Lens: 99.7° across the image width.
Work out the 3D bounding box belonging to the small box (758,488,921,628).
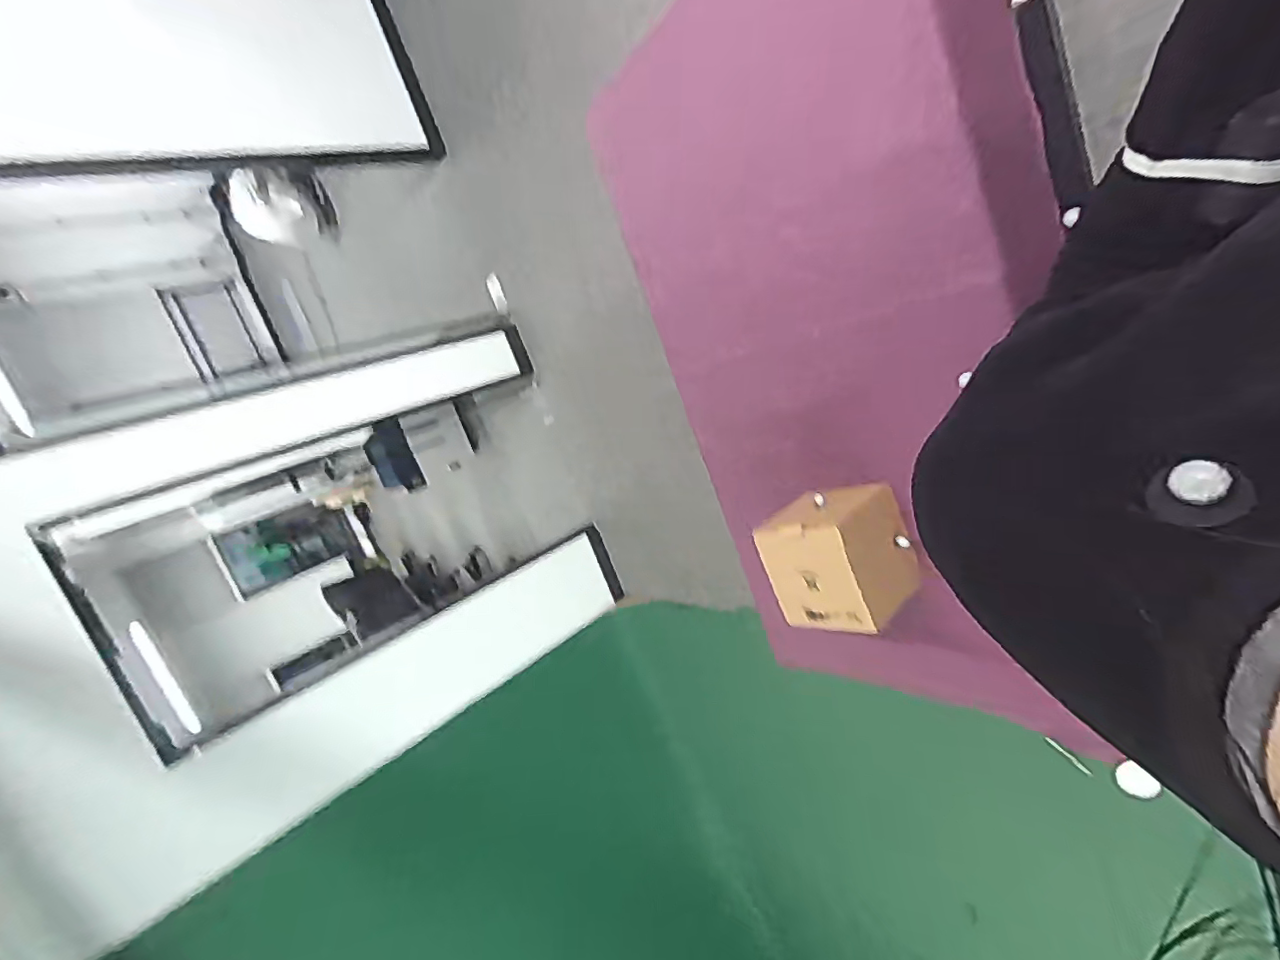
[{"bbox_3d":[0.333,0.121,0.901,0.168,0.176,0.179,-12,102,54],"label":"small box"}]
